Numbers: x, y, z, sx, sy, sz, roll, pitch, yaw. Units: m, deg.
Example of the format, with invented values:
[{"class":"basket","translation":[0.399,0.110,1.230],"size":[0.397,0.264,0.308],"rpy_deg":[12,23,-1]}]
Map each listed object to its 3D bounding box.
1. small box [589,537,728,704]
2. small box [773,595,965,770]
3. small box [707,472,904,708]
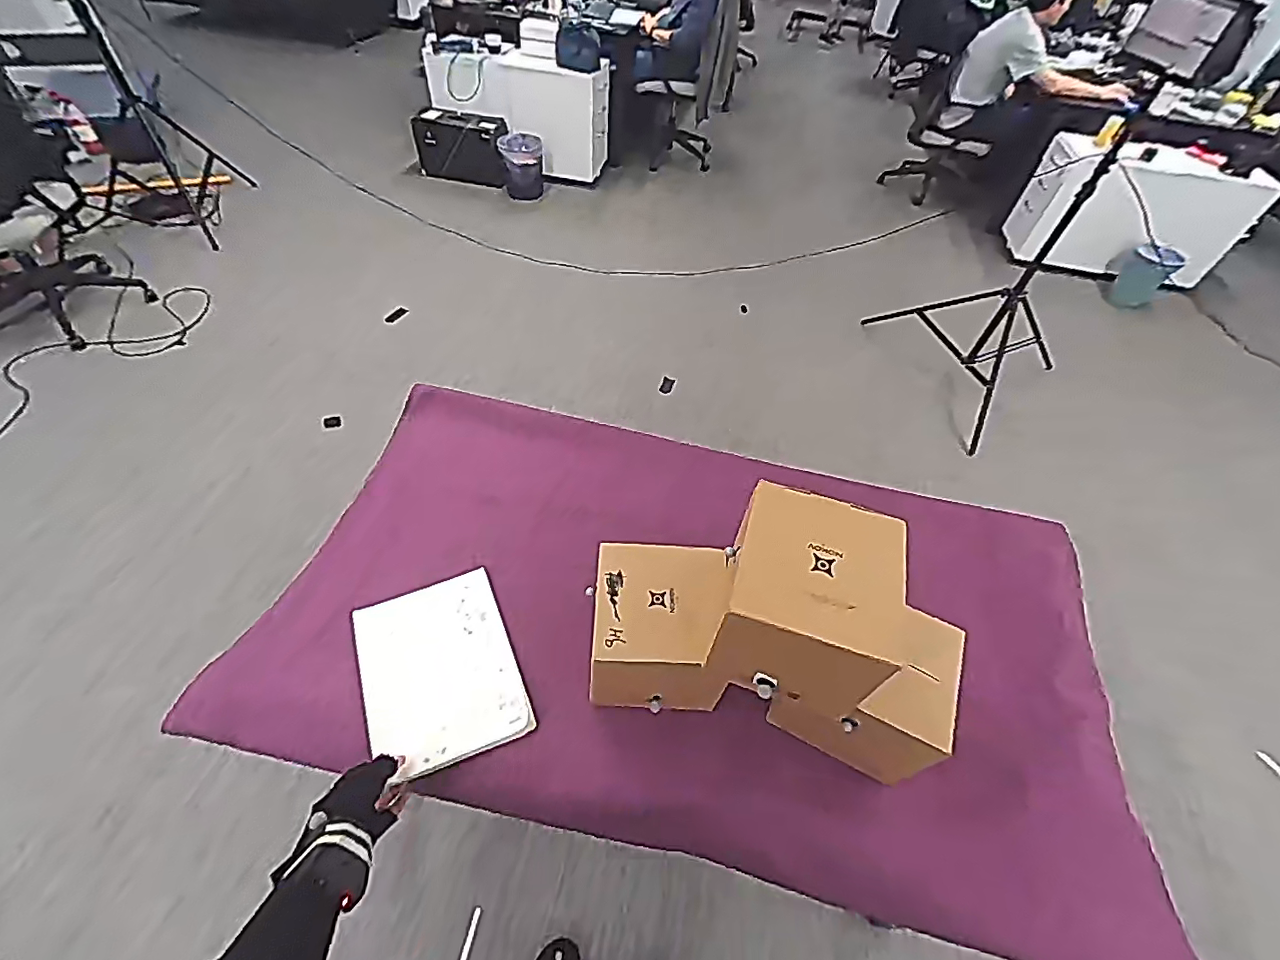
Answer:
[{"class":"small box","translation":[0.025,0.198,0.747],"size":[0.179,0.176,0.168],"rpy_deg":[4,49,-3]},{"class":"small box","translation":[0.296,0.255,0.722],"size":[0.179,0.176,0.168],"rpy_deg":[24,52,15]},{"class":"small box","translation":[0.180,0.124,0.610],"size":[0.168,0.176,0.179],"rpy_deg":[15,51,9]}]
